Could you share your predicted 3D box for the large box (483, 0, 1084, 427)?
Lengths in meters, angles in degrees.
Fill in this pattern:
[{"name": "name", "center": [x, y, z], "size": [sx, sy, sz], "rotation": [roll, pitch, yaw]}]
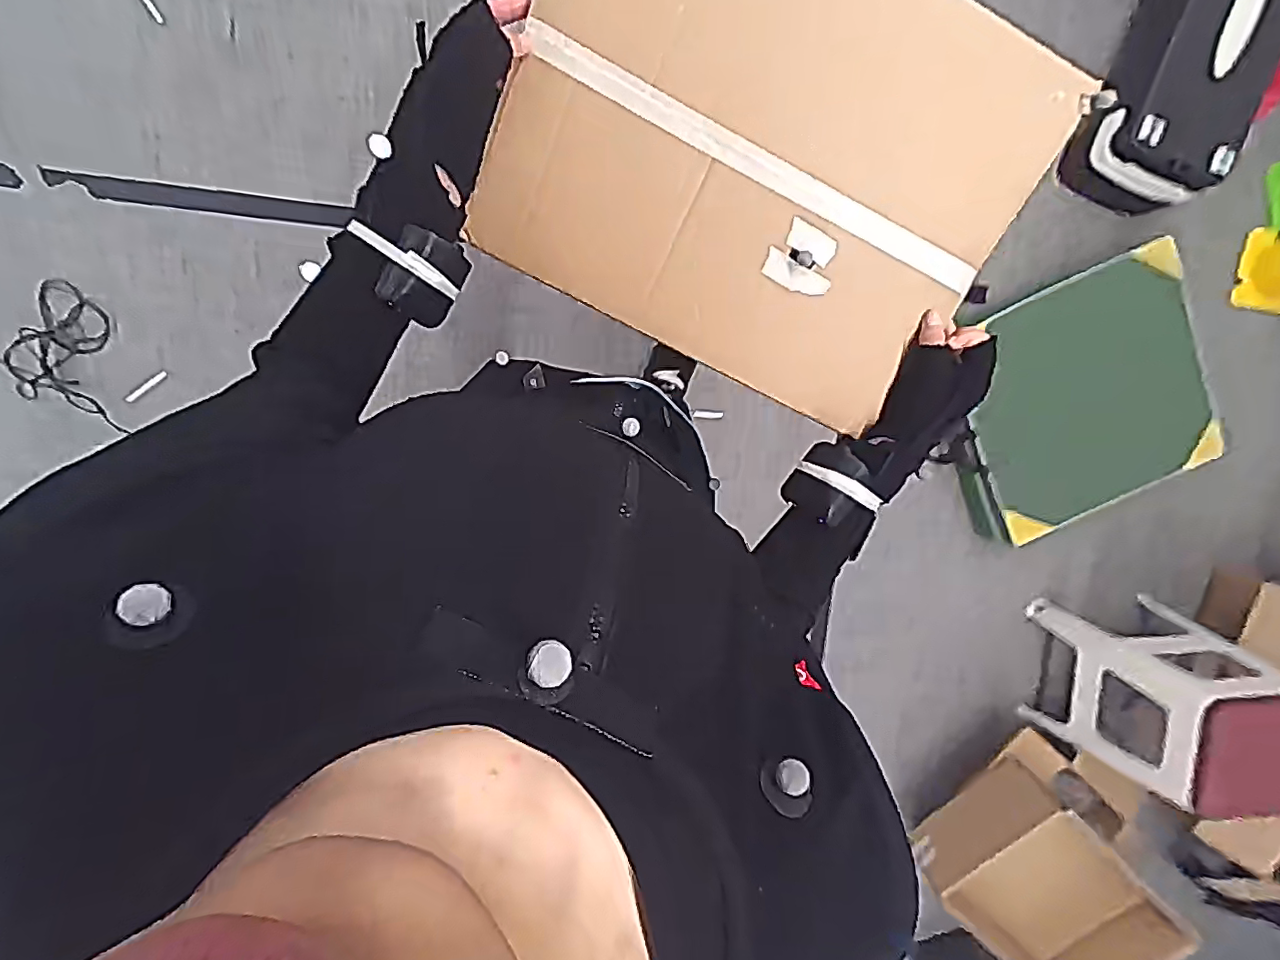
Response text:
[{"name": "large box", "center": [0.106, -0.308, 0.581], "size": [0.408, 0.320, 0.320], "rotation": [25, 110, -8]}]
